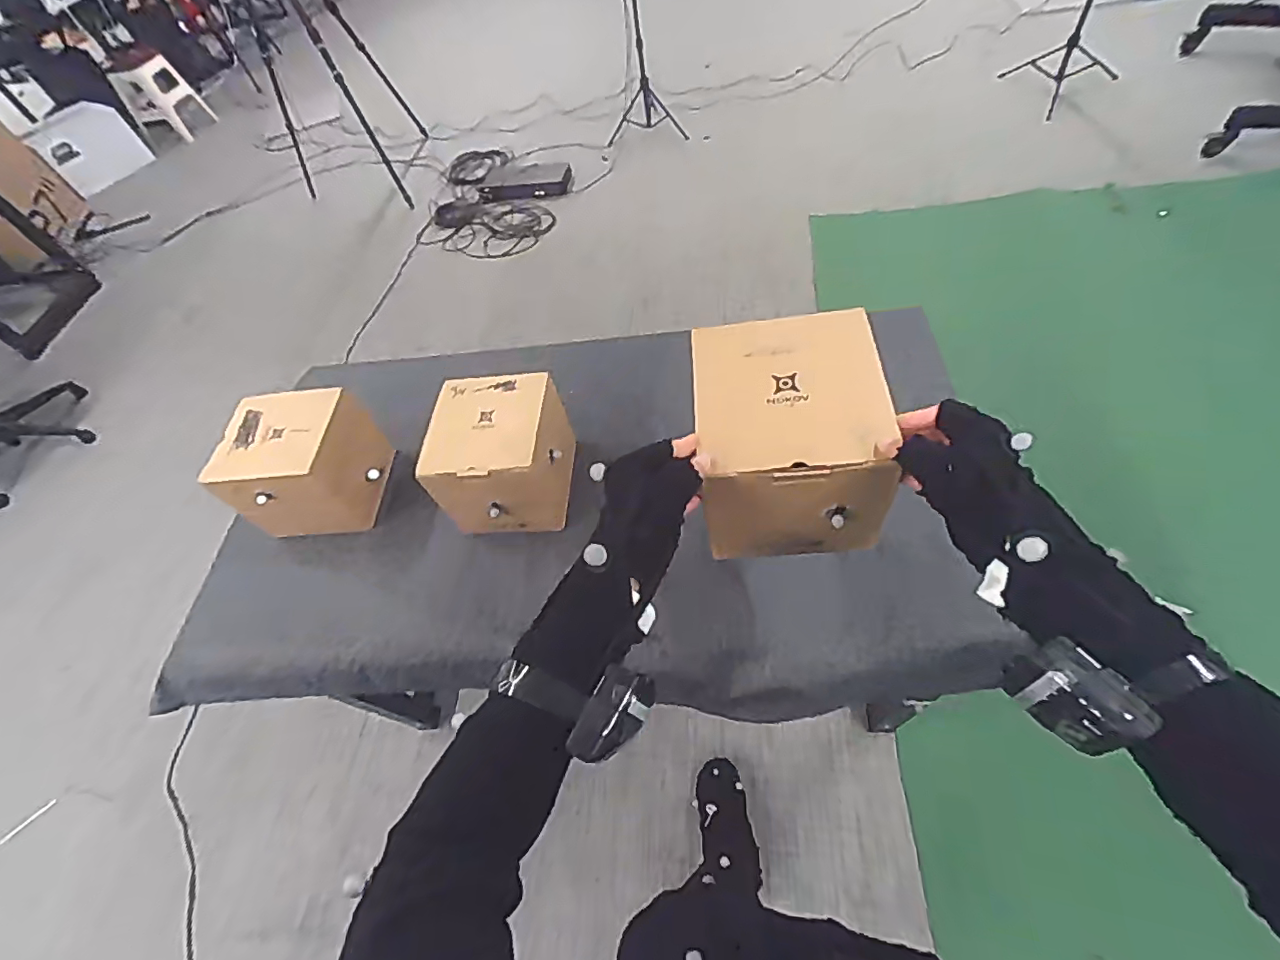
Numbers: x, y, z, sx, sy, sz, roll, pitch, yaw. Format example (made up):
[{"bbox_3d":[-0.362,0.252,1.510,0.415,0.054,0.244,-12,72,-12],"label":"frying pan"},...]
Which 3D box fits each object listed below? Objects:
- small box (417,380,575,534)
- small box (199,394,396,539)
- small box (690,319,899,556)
[{"bbox_3d":[-0.203,-0.026,0.820,0.168,0.176,0.179,-3,56,8],"label":"small box"},{"bbox_3d":[-0.531,-0.015,0.868,0.179,0.176,0.168,-4,56,5],"label":"small box"},{"bbox_3d":[0.143,-0.032,0.549,0.168,0.176,0.179,-5,55,8],"label":"small box"}]
